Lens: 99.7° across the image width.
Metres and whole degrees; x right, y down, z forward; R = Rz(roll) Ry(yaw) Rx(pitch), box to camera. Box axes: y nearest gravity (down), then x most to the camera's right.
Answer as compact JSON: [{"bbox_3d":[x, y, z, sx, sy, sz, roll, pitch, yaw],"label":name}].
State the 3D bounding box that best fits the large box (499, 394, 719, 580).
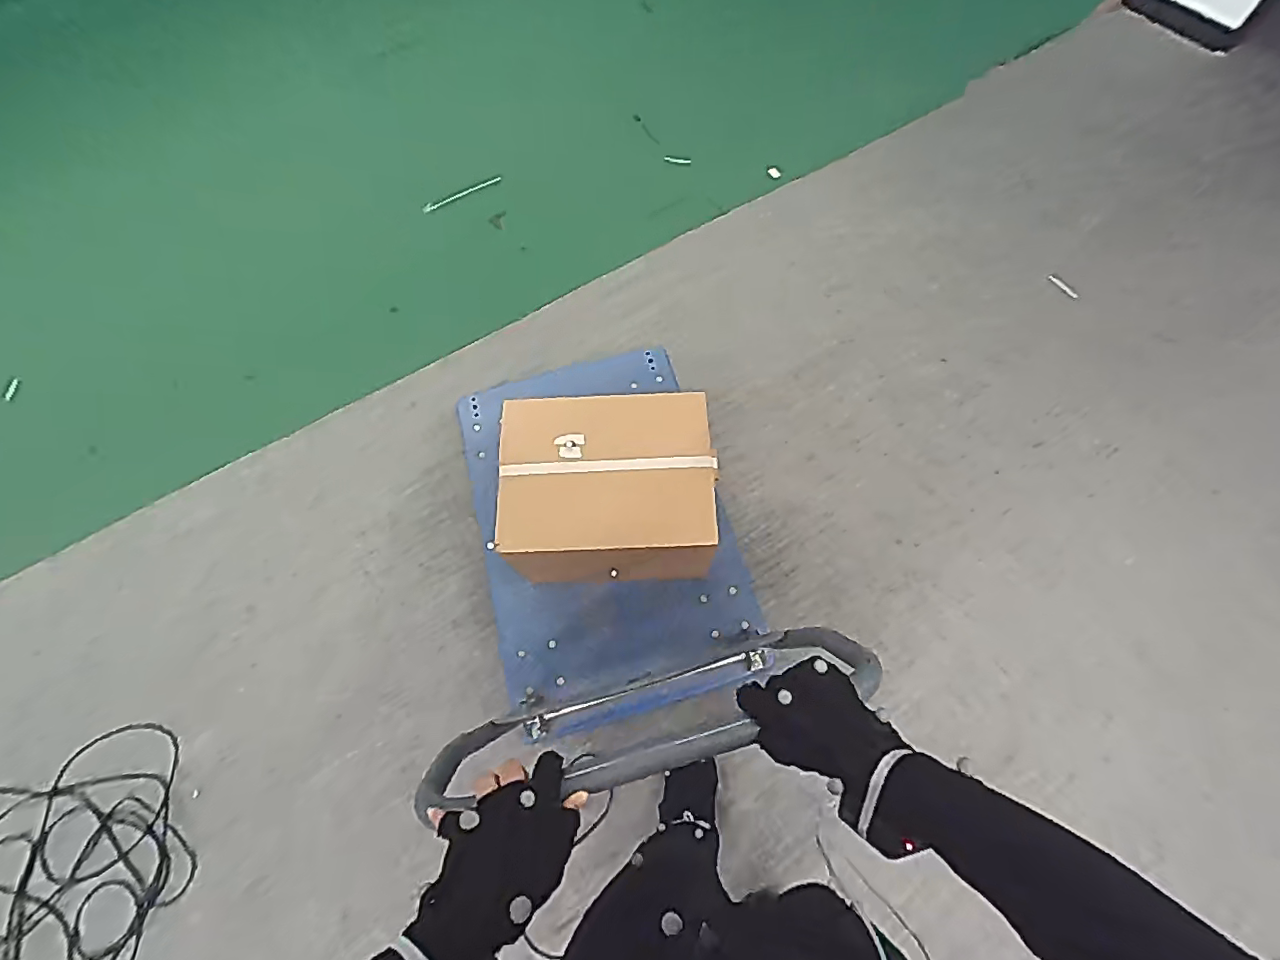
[{"bbox_3d":[-0.054,0.033,1.158,0.408,0.320,0.320,-2,69,2],"label":"large box"}]
